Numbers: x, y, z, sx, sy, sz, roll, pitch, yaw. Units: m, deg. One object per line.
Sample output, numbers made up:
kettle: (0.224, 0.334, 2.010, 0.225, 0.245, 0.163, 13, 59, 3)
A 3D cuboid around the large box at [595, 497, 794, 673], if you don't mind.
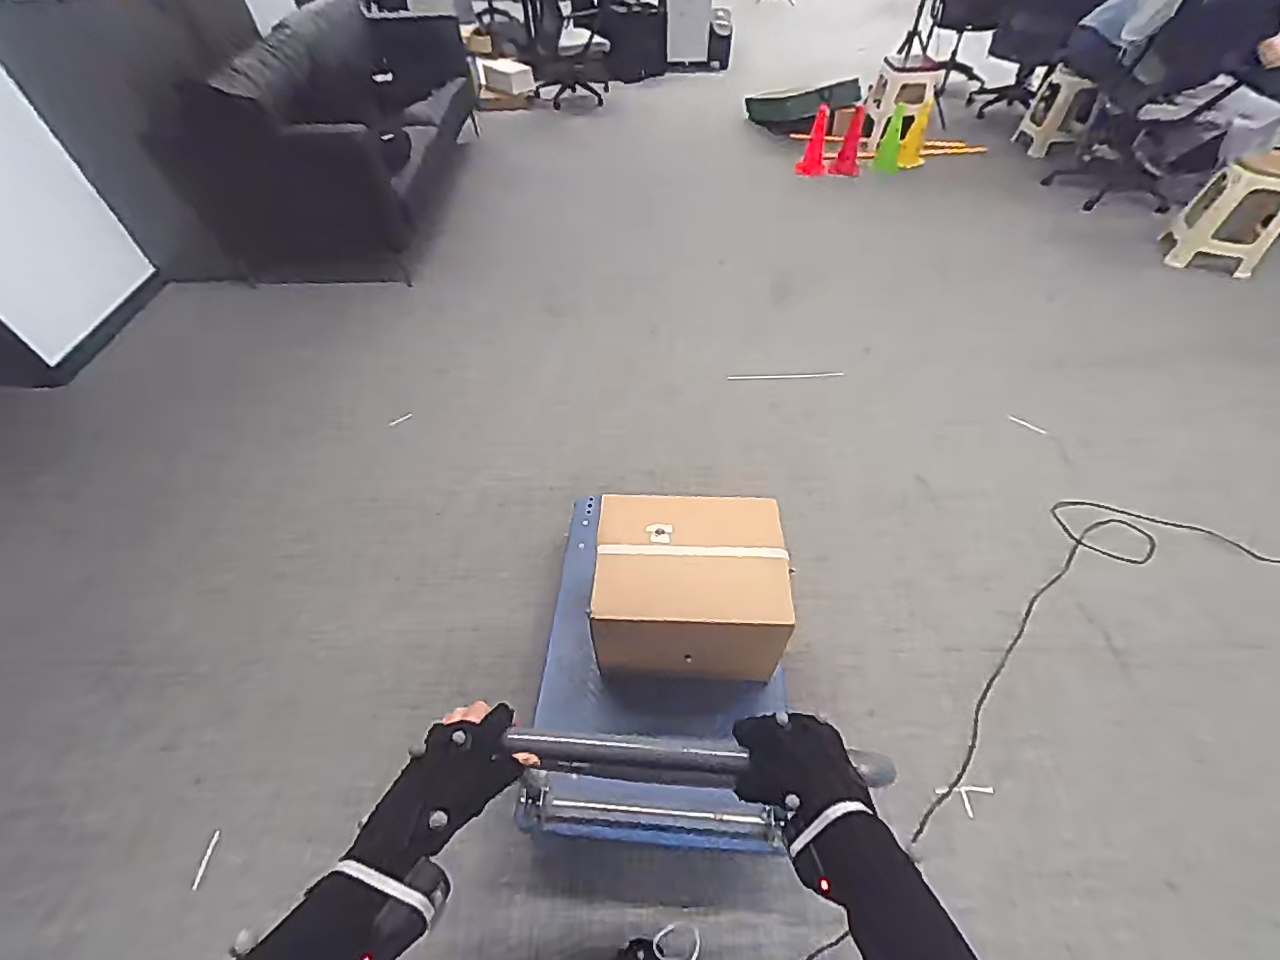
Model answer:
large box: (0.116, 0.255, 1.282, 0.408, 0.320, 0.320, 0, 50, 3)
